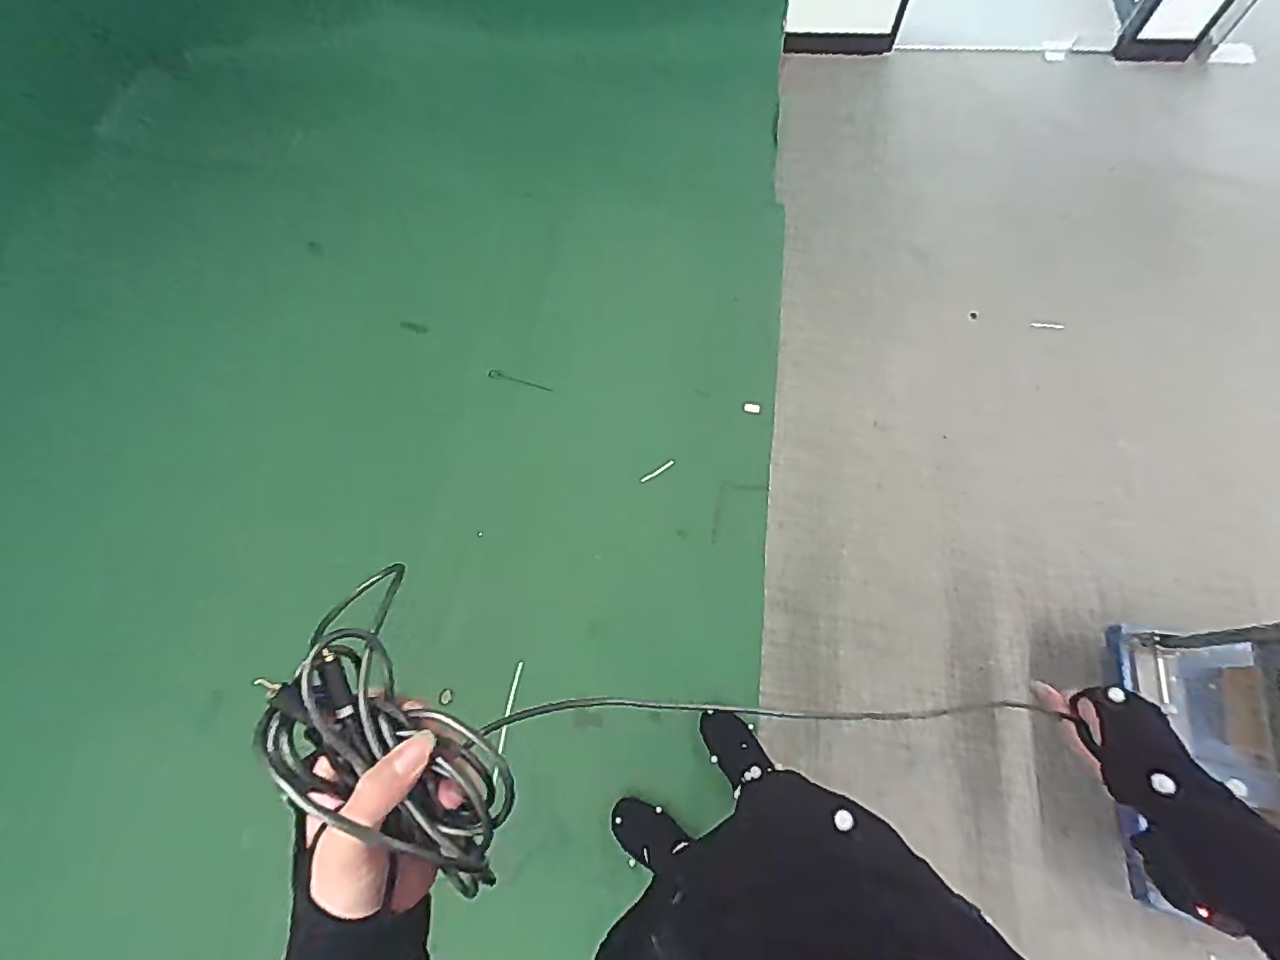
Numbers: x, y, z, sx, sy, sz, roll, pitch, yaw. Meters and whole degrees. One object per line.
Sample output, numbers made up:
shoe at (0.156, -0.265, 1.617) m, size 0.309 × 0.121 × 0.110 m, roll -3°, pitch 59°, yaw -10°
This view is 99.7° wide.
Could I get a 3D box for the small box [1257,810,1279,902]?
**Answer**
small box at (1.331, 0.735, 1.002) m, size 0.179 × 0.176 × 0.168 m, roll 11°, pitch 69°, yaw 8°
